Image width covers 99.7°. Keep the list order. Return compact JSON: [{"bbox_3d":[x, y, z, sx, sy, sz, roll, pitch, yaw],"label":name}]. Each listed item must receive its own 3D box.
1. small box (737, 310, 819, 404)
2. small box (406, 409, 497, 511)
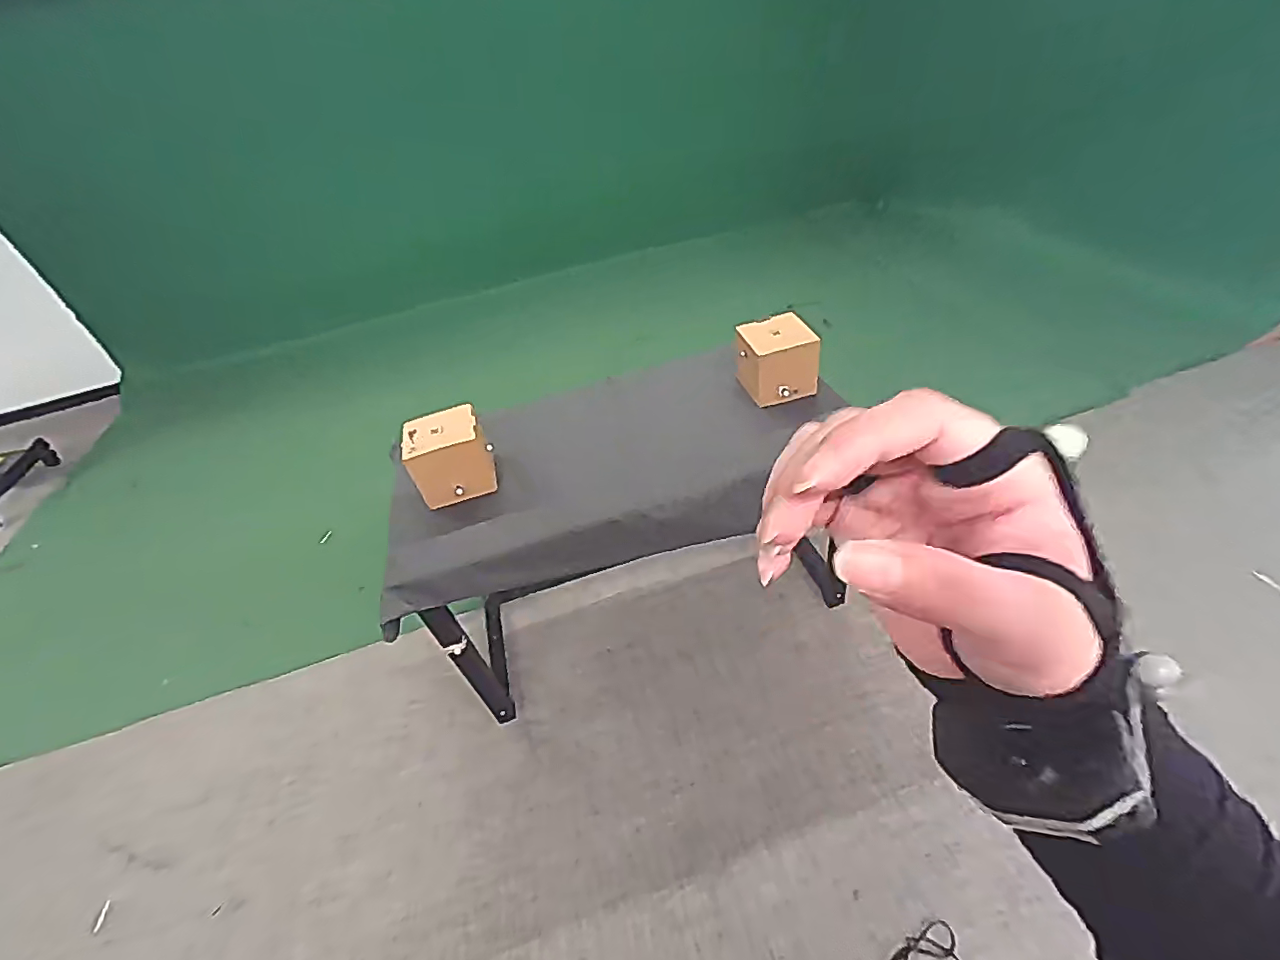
[{"bbox_3d":[0.368,-0.330,1.459,0.168,0.176,0.179,-15,42,0],"label":"small box"},{"bbox_3d":[-0.470,-0.050,1.369,0.179,0.176,0.168,-17,41,-7],"label":"small box"}]
